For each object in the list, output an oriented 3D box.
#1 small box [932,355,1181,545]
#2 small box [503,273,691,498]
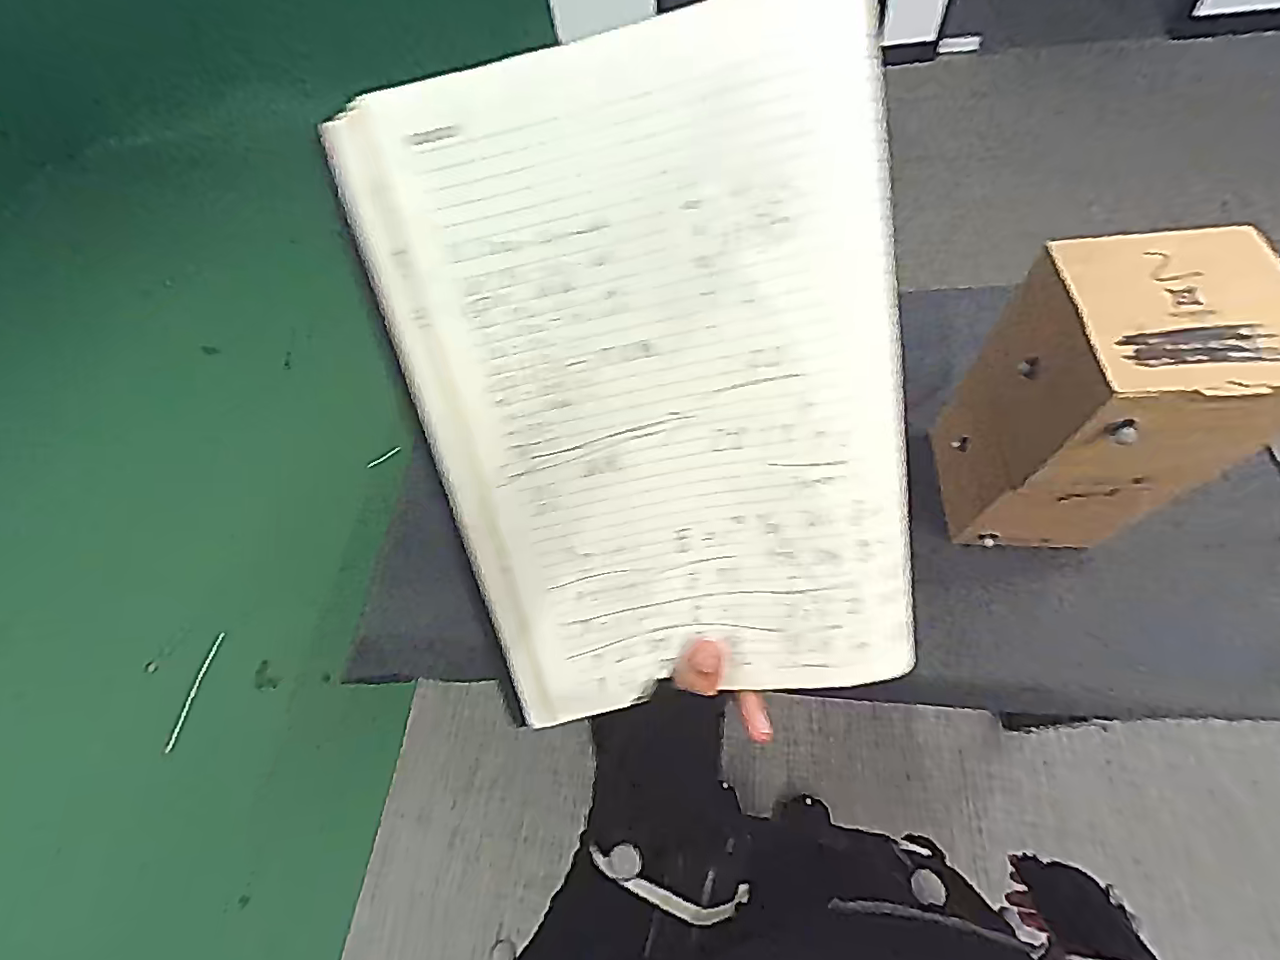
[{"bbox_3d":[0.481,-0.029,0.661,0.168,0.176,0.179,1,61,9],"label":"small box"},{"bbox_3d":[-0.031,-0.095,0.588,0.168,0.176,0.179,-2,61,7],"label":"small box"}]
